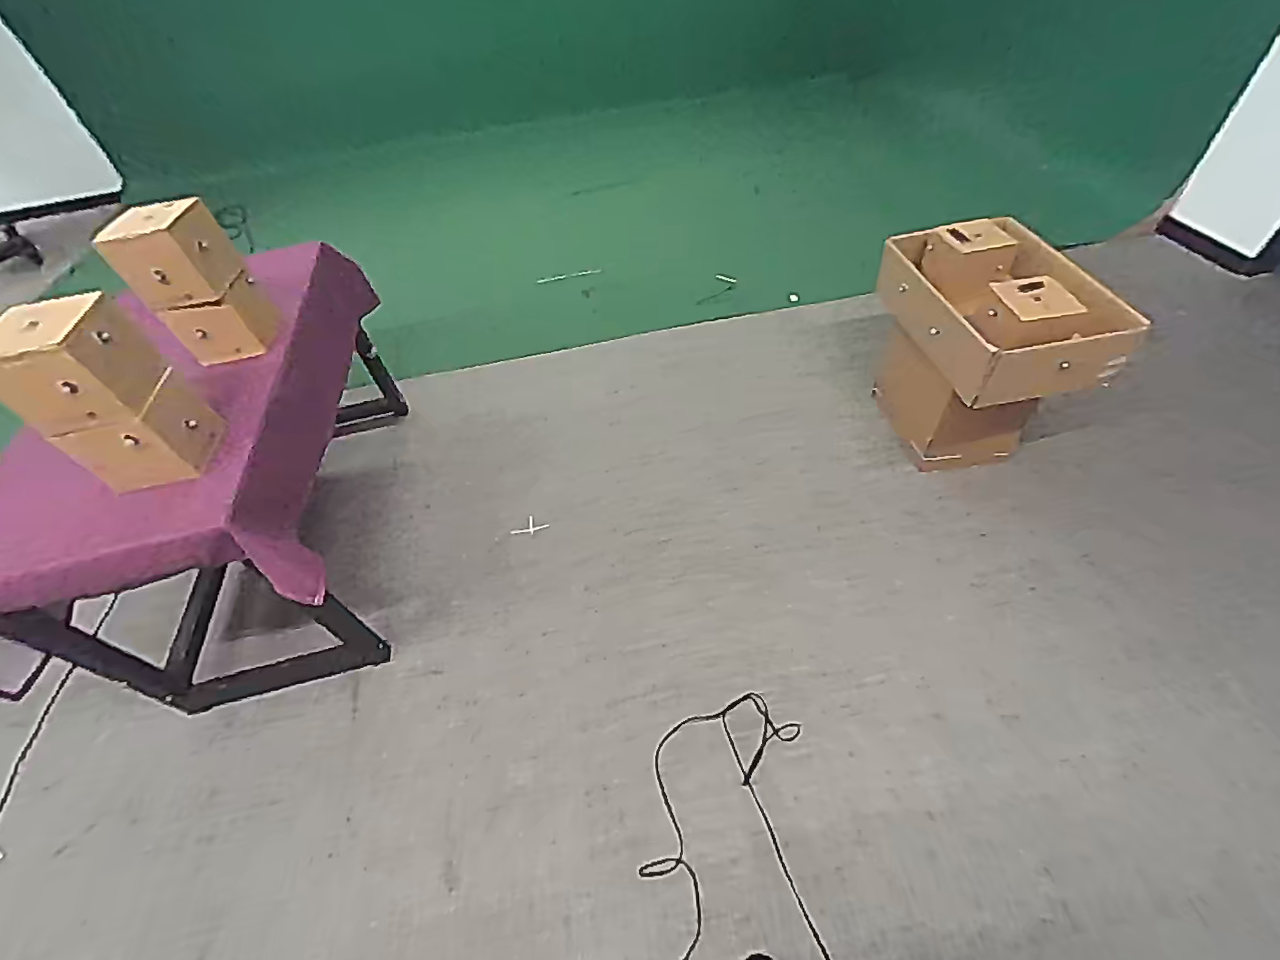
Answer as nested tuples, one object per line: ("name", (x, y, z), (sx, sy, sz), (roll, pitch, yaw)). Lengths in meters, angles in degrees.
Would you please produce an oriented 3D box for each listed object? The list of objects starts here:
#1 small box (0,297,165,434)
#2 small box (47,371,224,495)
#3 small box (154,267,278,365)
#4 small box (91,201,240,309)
("small box", (-1.029, -0.201, 0.984), (0.168, 0.176, 0.179), (-12, 49, -4))
("small box", (-1.010, -0.093, 1.105), (0.179, 0.176, 0.168), (-12, 49, -2))
("small box", (-1.068, -0.412, 1.383), (0.168, 0.176, 0.179), (-13, 49, -3))
("small box", (-1.082, -0.513, 1.254), (0.168, 0.176, 0.179), (-10, 50, 0))
